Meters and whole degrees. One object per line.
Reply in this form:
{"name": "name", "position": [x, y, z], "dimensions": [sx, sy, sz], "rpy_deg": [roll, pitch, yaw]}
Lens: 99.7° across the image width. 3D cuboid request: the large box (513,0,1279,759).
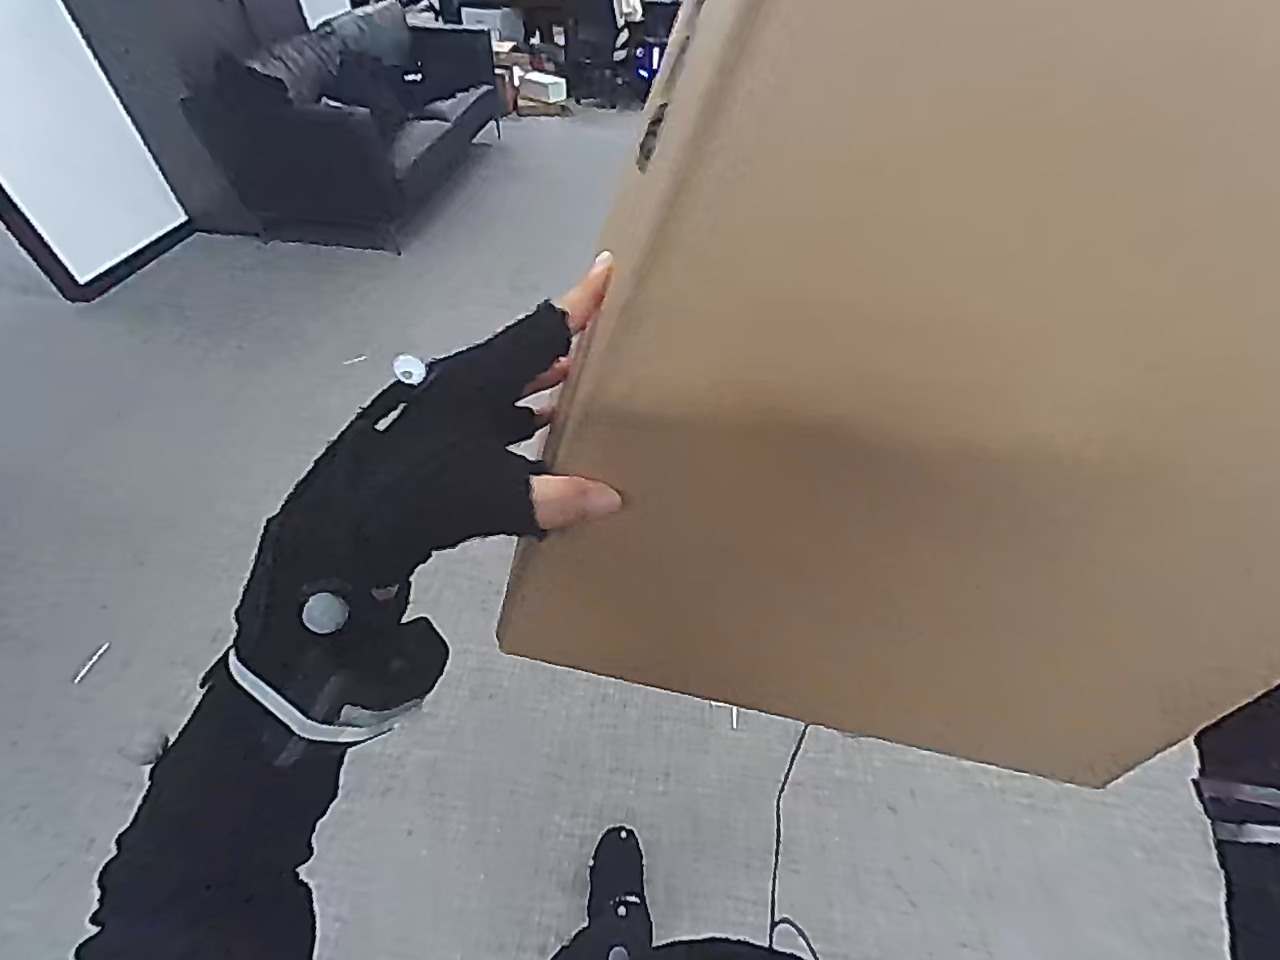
{"name": "large box", "position": [0.165, -0.065, 0.364], "dimensions": [0.408, 0.320, 0.320], "rpy_deg": [18, 32, -14]}
